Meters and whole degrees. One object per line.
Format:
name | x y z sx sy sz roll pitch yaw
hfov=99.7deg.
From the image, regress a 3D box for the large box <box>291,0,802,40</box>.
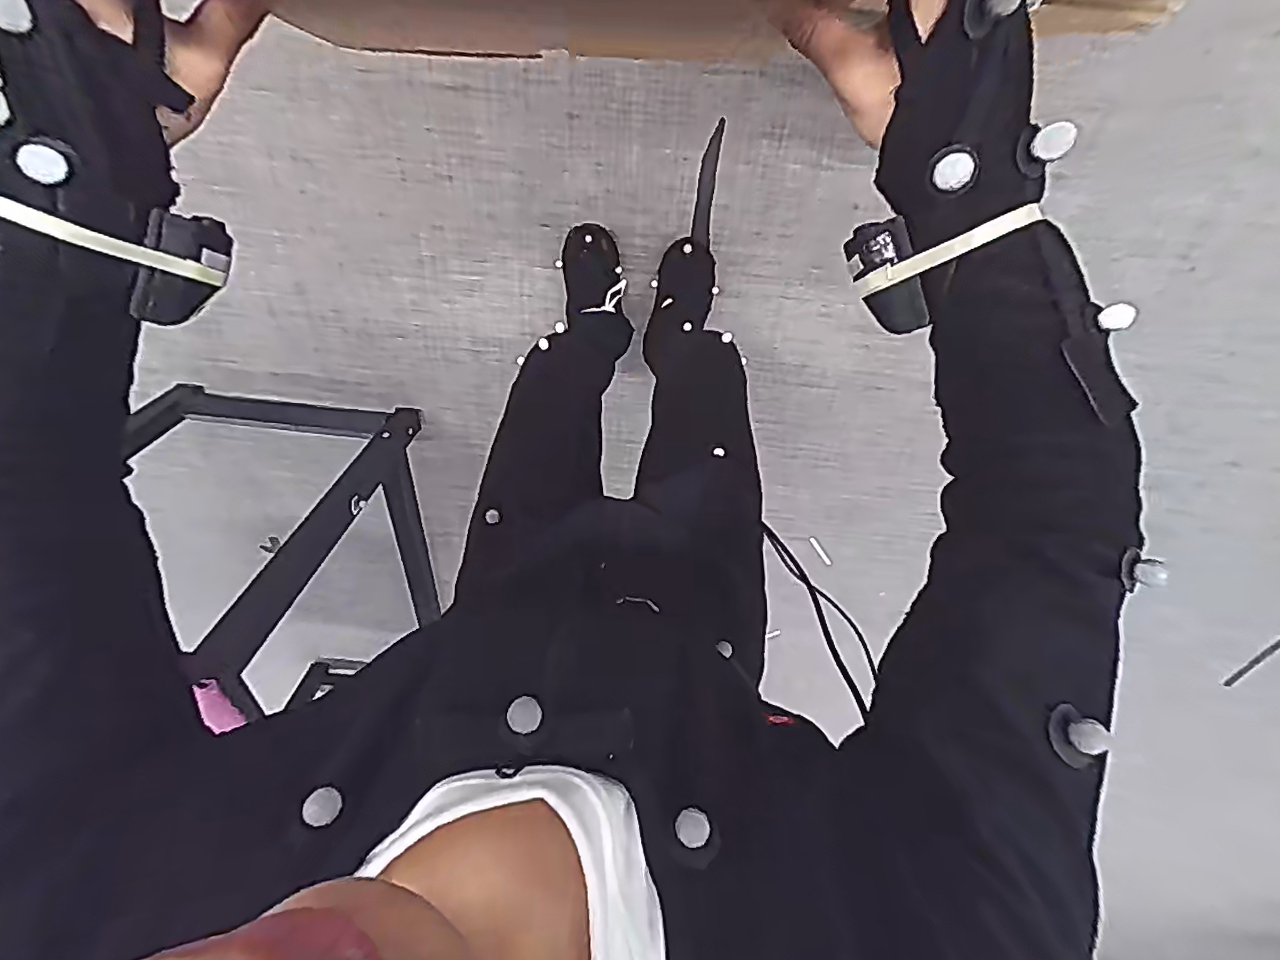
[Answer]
large box | -0.051 -0.421 0.165 0.320 0.320 0.408 0 120 -1
